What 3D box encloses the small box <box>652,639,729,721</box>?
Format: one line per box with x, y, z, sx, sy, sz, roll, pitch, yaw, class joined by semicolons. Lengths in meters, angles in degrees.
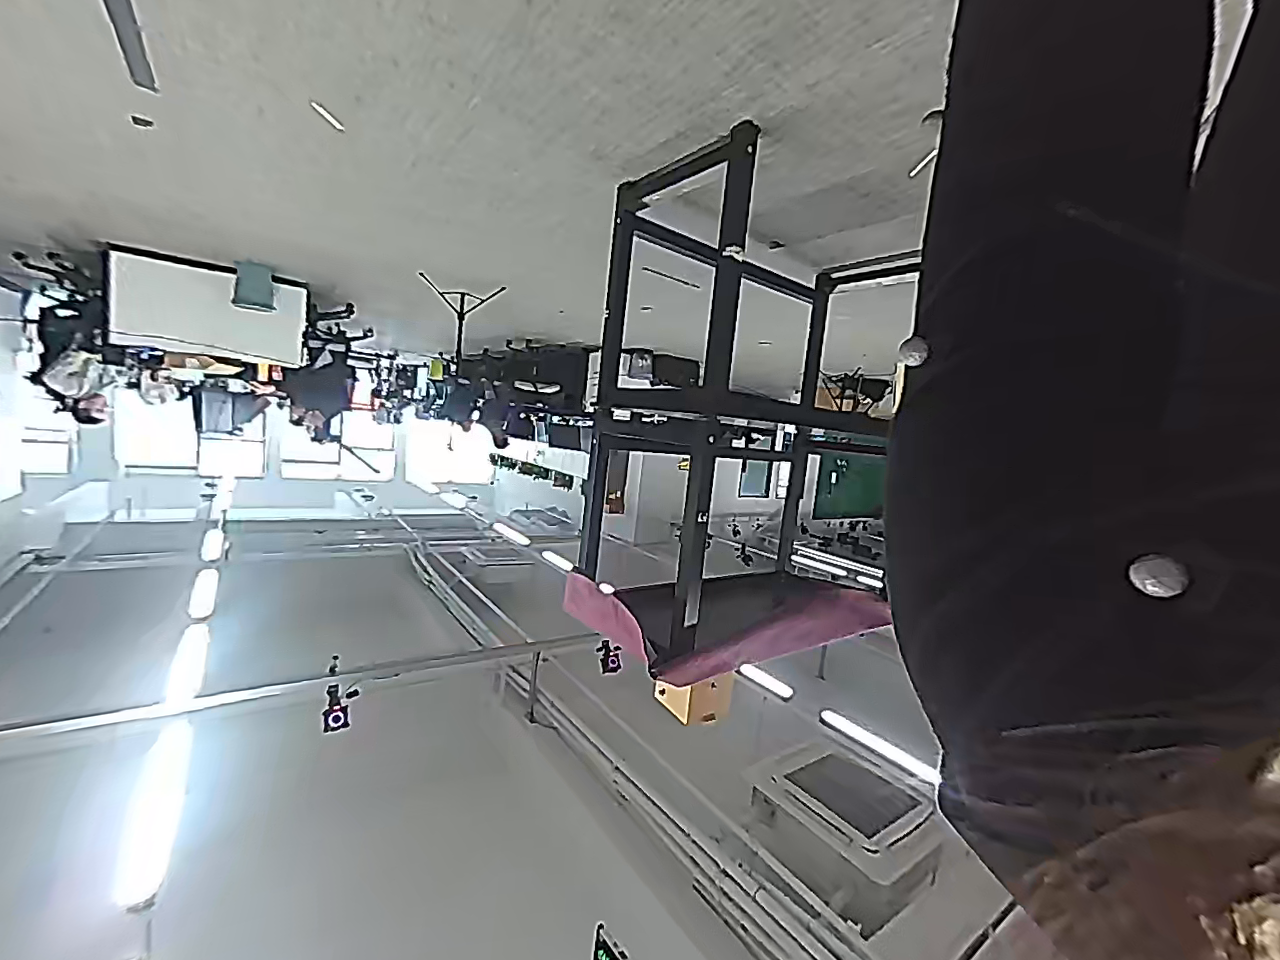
0.159;0.610;1.673;0.168;0.176;0.179;1;-172;-32;small box
